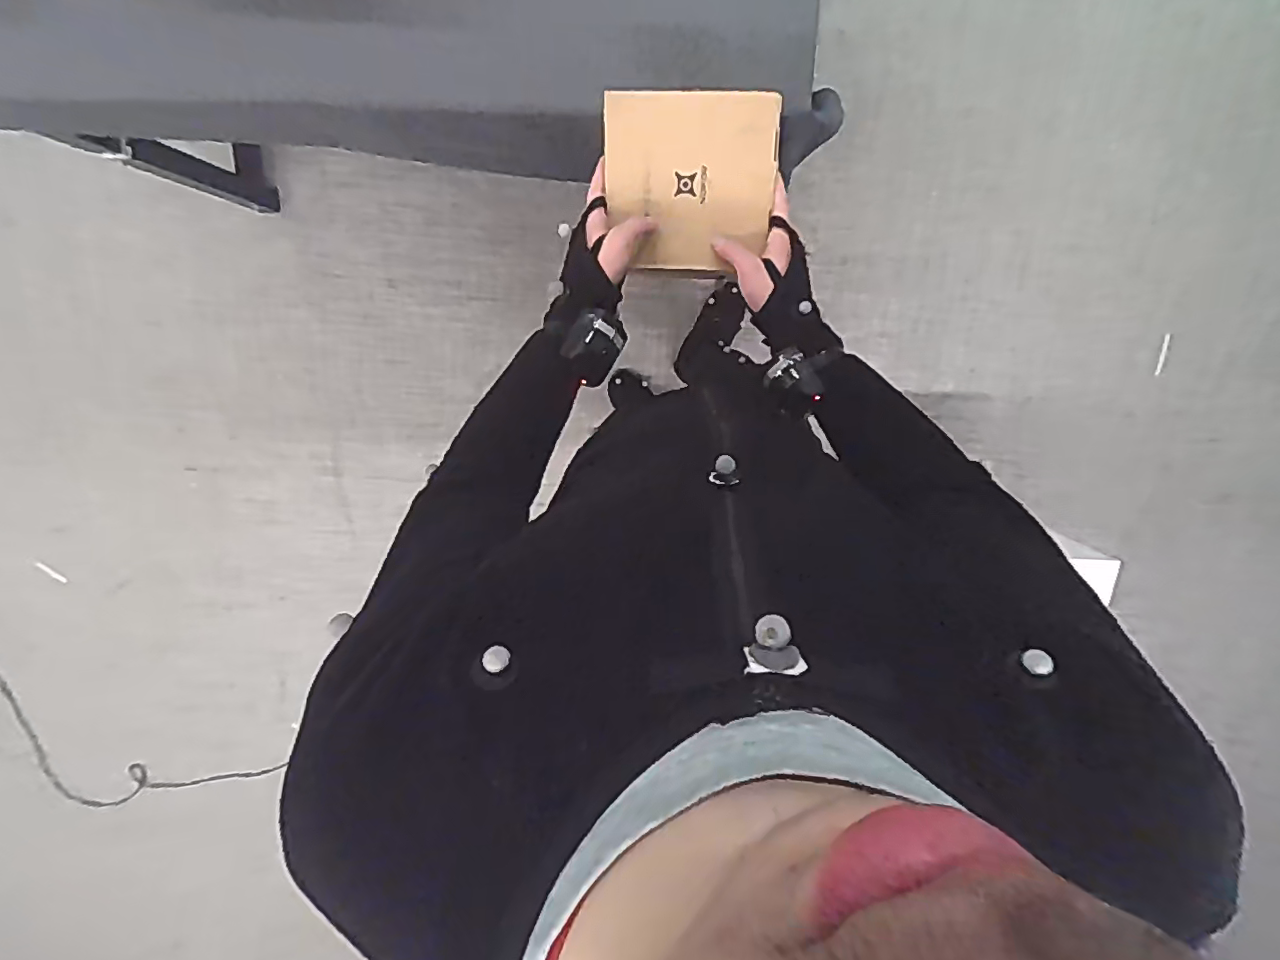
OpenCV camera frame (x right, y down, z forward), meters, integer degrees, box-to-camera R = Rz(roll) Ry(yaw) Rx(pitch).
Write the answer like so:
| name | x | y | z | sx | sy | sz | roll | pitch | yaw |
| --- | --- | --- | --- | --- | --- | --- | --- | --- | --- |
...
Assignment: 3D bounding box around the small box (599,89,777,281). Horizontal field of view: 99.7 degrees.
| name | x | y | z | sx | sy | sz | roll | pitch | yaw |
| --- | --- | --- | --- | --- | --- | --- | --- | --- | --- |
| small box | 0.049 | -0.323 | 0.623 | 0.179 | 0.176 | 0.168 | 1 | 107 | 3 |
